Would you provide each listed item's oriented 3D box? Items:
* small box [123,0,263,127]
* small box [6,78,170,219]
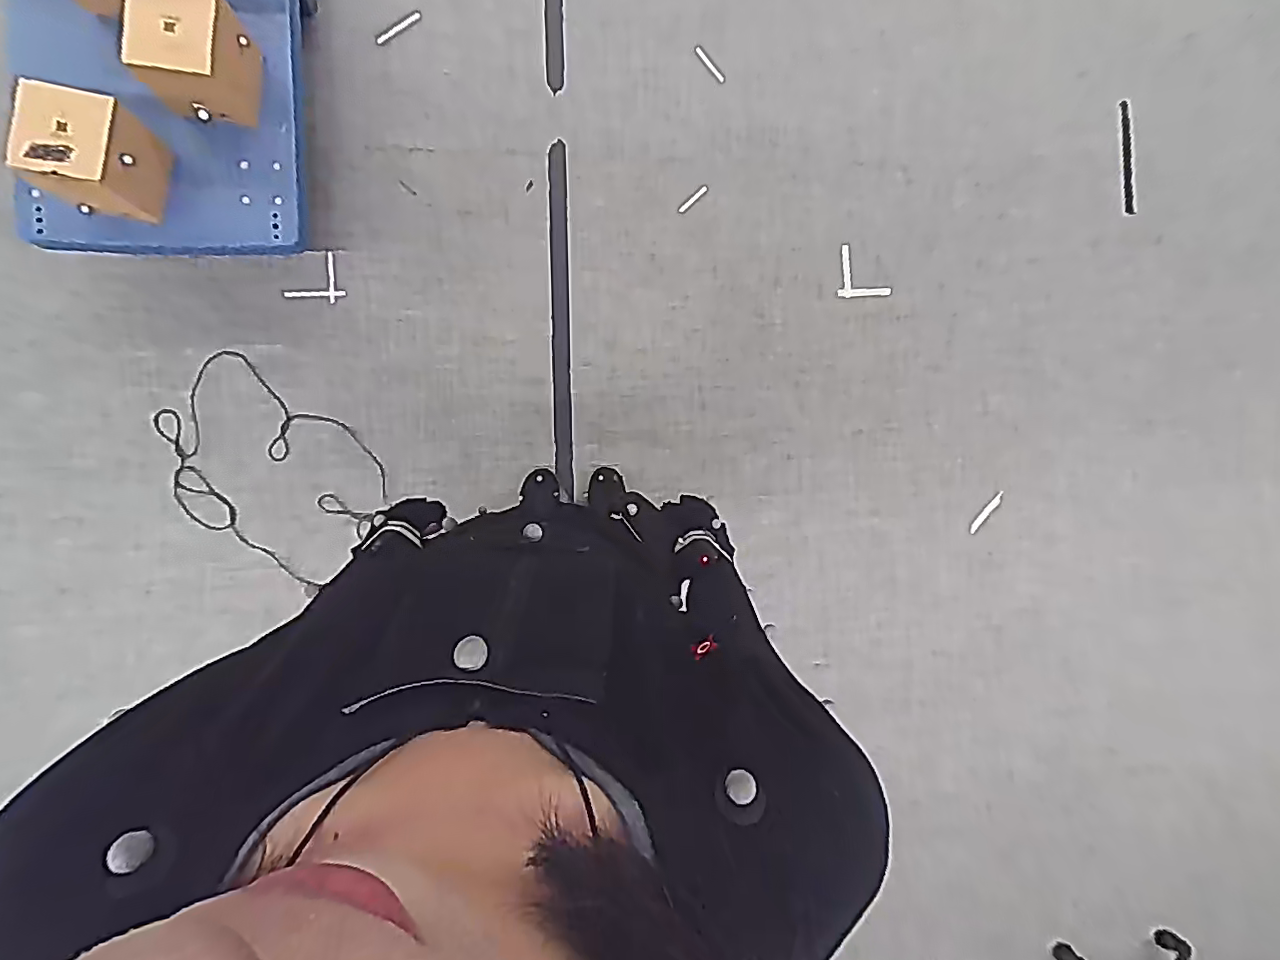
[{"bbox_3d":[-0.939,-0.901,1.153,0.168,0.176,0.179,4,91,-6],"label":"small box"},{"bbox_3d":[-1.130,-0.674,1.123,0.168,0.176,0.179,8,87,-8],"label":"small box"}]
